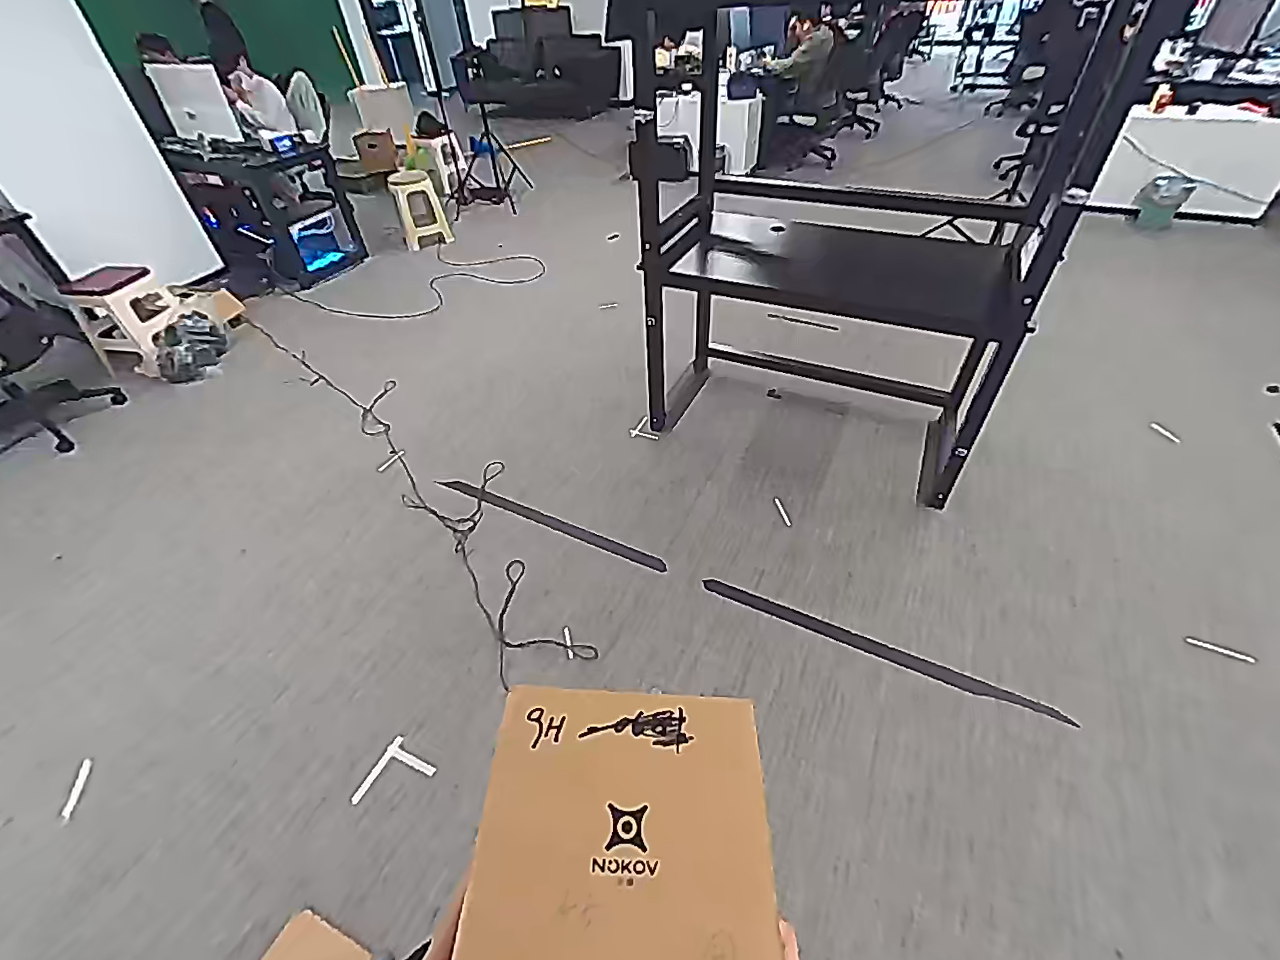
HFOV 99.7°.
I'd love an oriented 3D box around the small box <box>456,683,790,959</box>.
[{"bbox_3d":[-0.010,0.255,0.352,0.168,0.176,0.179,4,45,-2],"label":"small box"}]
